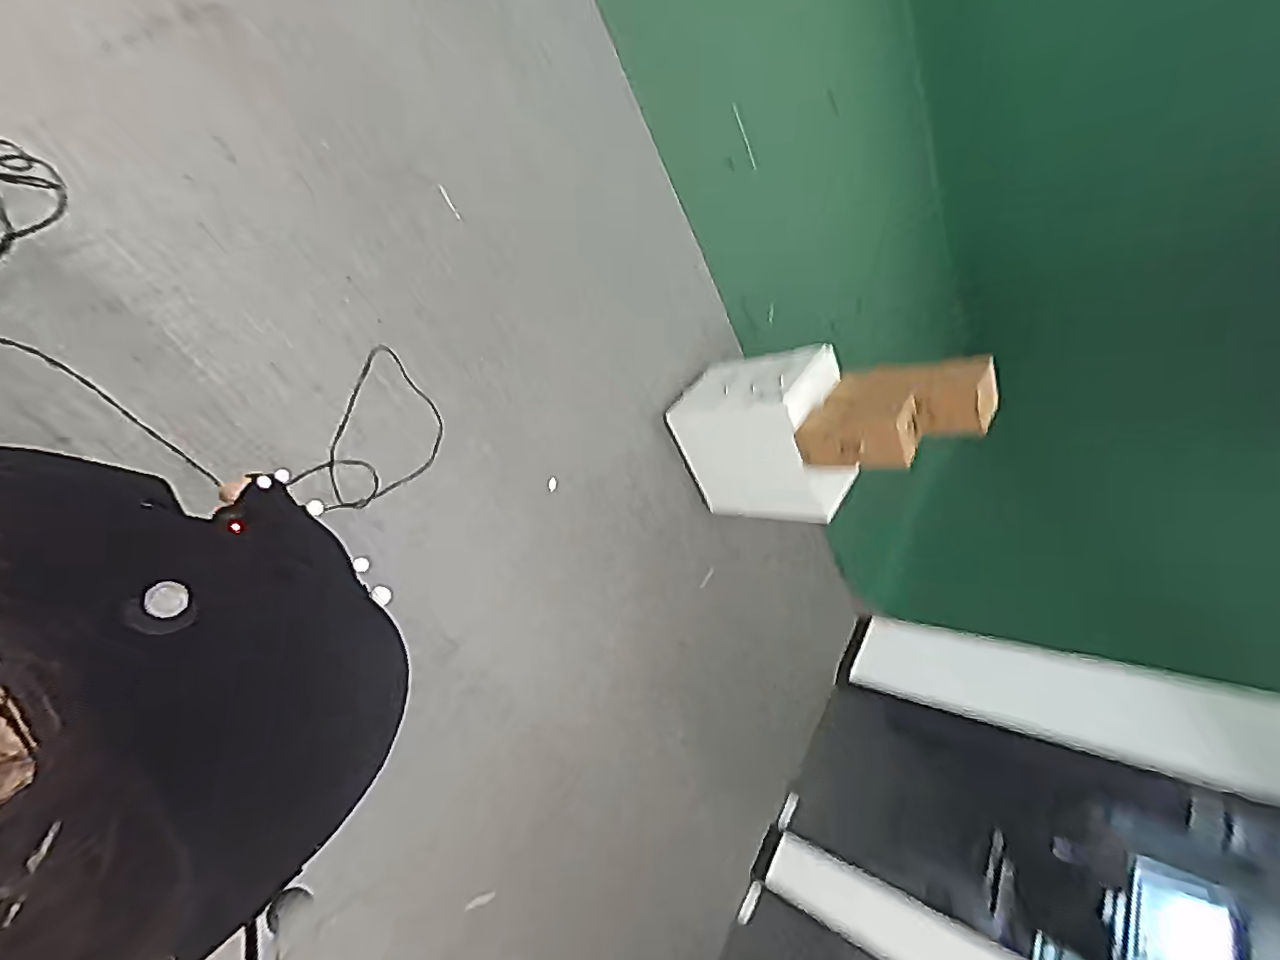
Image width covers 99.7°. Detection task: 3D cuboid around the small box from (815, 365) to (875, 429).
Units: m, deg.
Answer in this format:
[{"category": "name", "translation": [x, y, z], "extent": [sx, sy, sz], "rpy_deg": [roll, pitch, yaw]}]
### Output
[{"category": "small box", "translation": [0.771, -0.305, 1.992], "extent": [0.179, 0.176, 0.168], "rpy_deg": [-49, 123, -31]}]

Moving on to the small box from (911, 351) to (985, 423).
[{"category": "small box", "translation": [0.996, -0.297, 1.756], "extent": [0.179, 0.176, 0.168], "rpy_deg": [-49, 124, -31]}]

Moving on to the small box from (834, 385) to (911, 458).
[{"category": "small box", "translation": [0.746, -0.186, 1.736], "extent": [0.179, 0.176, 0.168], "rpy_deg": [-49, 123, -33]}]

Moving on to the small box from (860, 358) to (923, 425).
[{"category": "small box", "translation": [0.884, -0.303, 1.874], "extent": [0.179, 0.176, 0.168], "rpy_deg": [-47, 122, -31]}]
